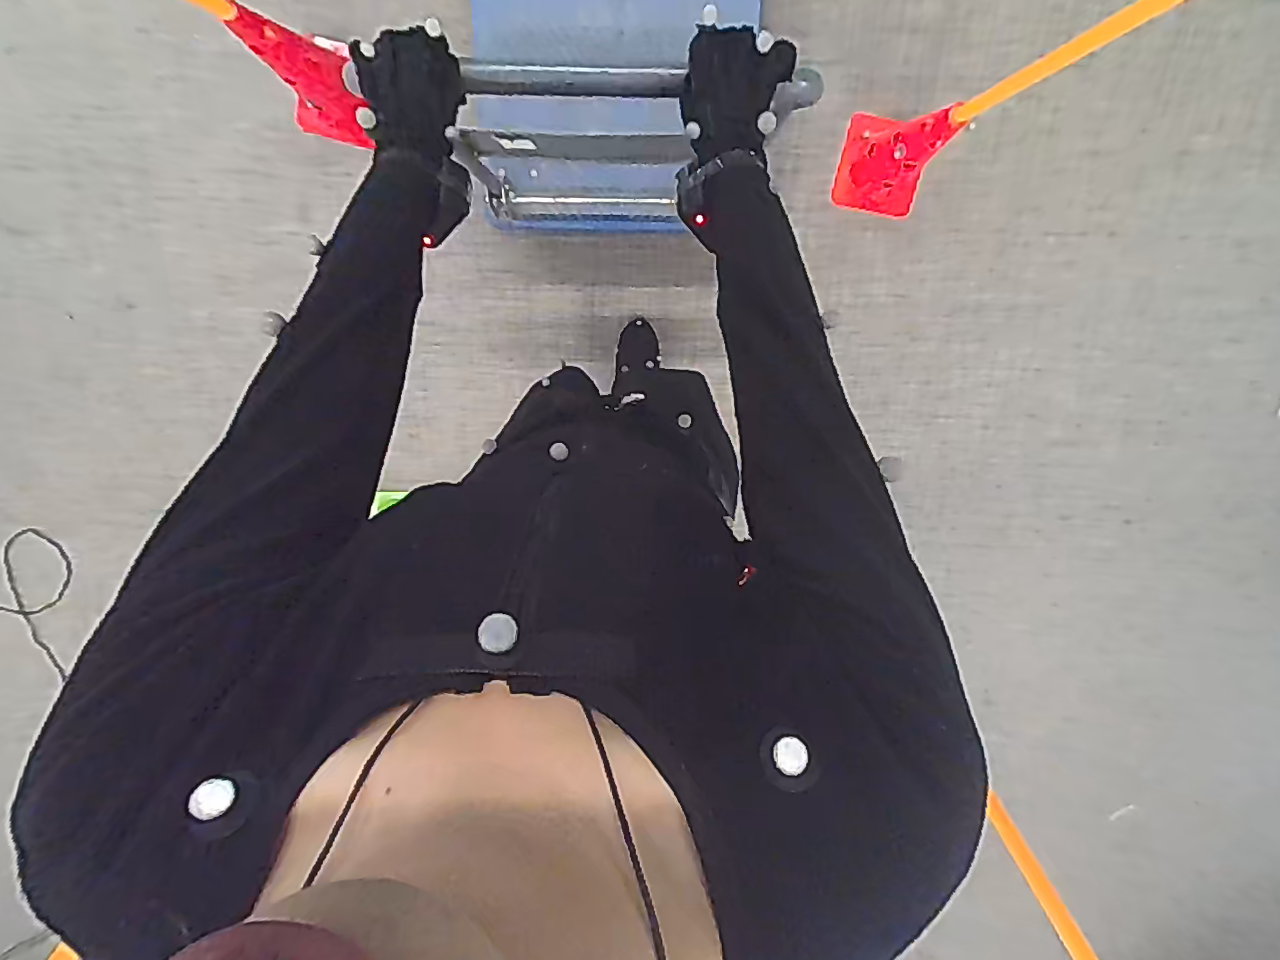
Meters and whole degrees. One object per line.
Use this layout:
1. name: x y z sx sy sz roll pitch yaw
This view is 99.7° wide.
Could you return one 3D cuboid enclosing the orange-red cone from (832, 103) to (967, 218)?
1. orange-red cone: 0.567 -0.694 1.121 0.198 0.360 0.199 12 108 -2
